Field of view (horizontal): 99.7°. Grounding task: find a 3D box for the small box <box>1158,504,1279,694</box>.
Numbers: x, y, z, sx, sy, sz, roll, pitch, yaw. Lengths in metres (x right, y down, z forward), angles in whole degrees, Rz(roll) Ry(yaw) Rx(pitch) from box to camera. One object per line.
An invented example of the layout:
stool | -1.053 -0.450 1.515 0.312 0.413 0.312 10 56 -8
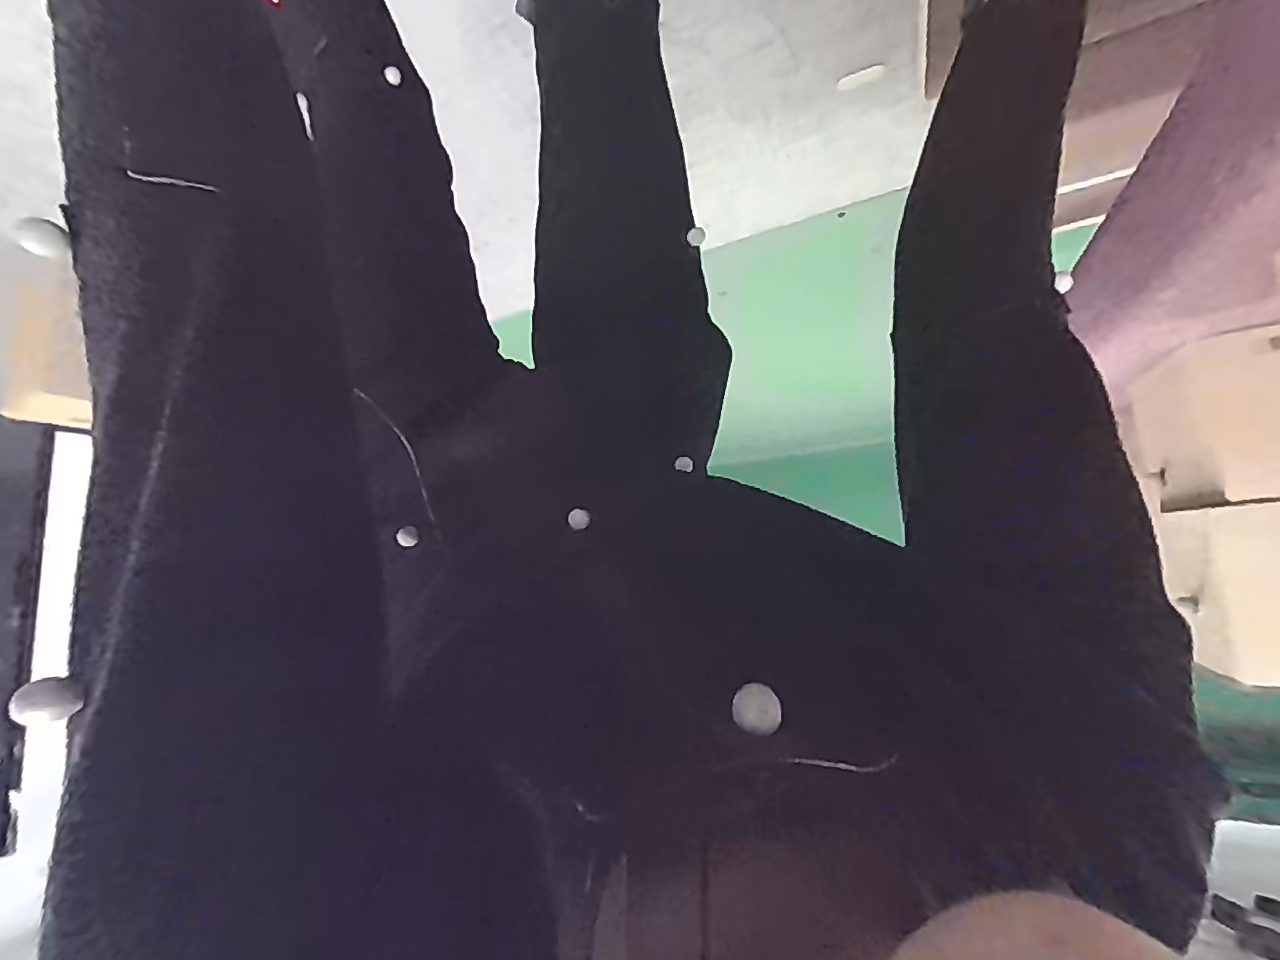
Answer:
small box | 0.654 0.105 0.528 0.168 0.176 0.179 -9 169 28

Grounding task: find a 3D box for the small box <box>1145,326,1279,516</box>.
small box | 0.660 -0.058 0.551 0.168 0.176 0.179 -10 168 26
